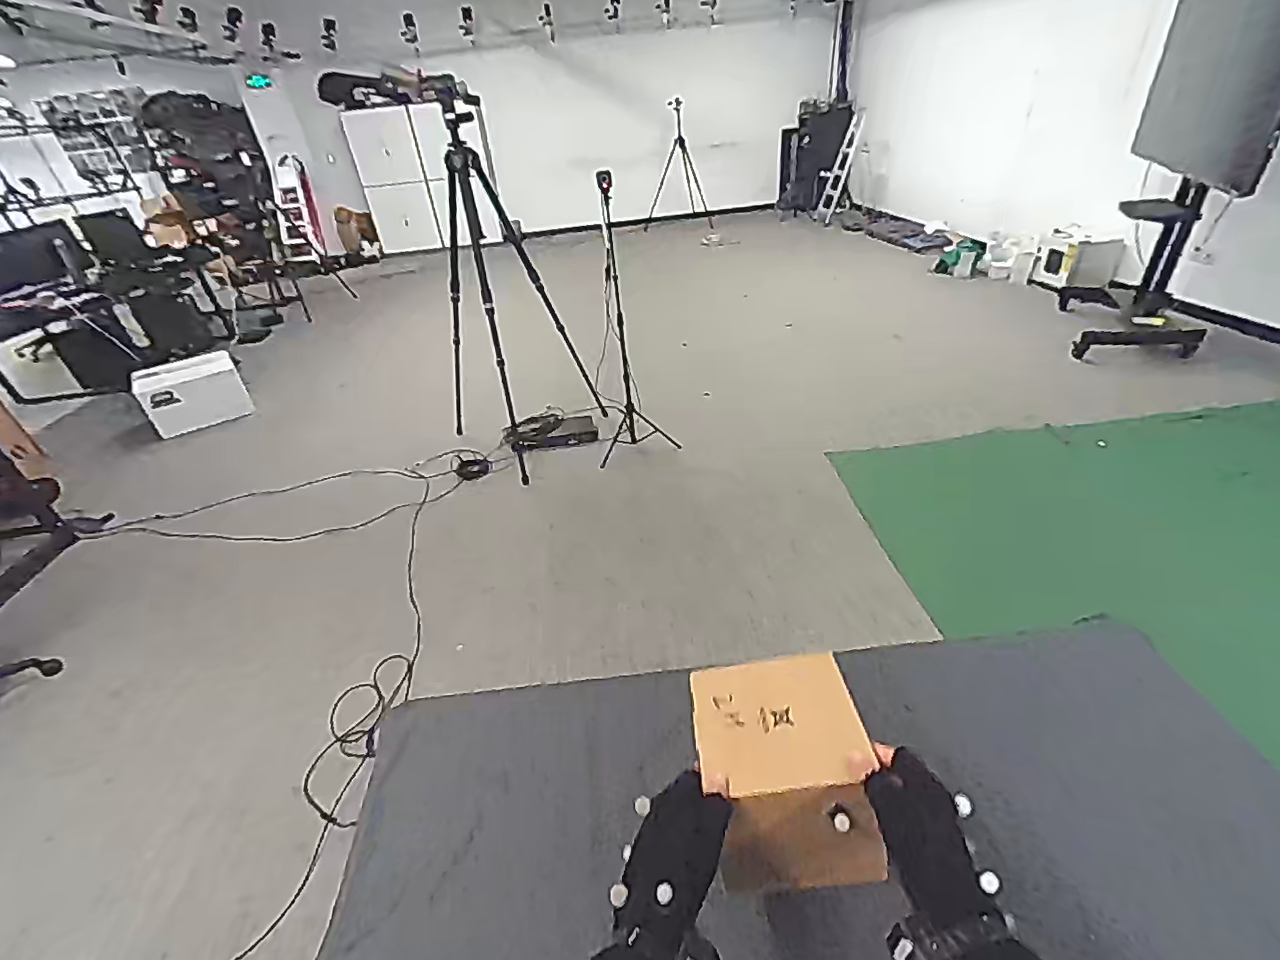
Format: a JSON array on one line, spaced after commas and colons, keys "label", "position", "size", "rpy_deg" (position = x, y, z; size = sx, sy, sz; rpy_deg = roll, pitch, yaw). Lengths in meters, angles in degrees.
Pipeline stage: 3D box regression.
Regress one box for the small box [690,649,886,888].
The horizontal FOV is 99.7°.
[{"label": "small box", "position": [0.159, 0.322, 0.611], "size": [0.179, 0.176, 0.168], "rpy_deg": [-11, 26, 6]}]
